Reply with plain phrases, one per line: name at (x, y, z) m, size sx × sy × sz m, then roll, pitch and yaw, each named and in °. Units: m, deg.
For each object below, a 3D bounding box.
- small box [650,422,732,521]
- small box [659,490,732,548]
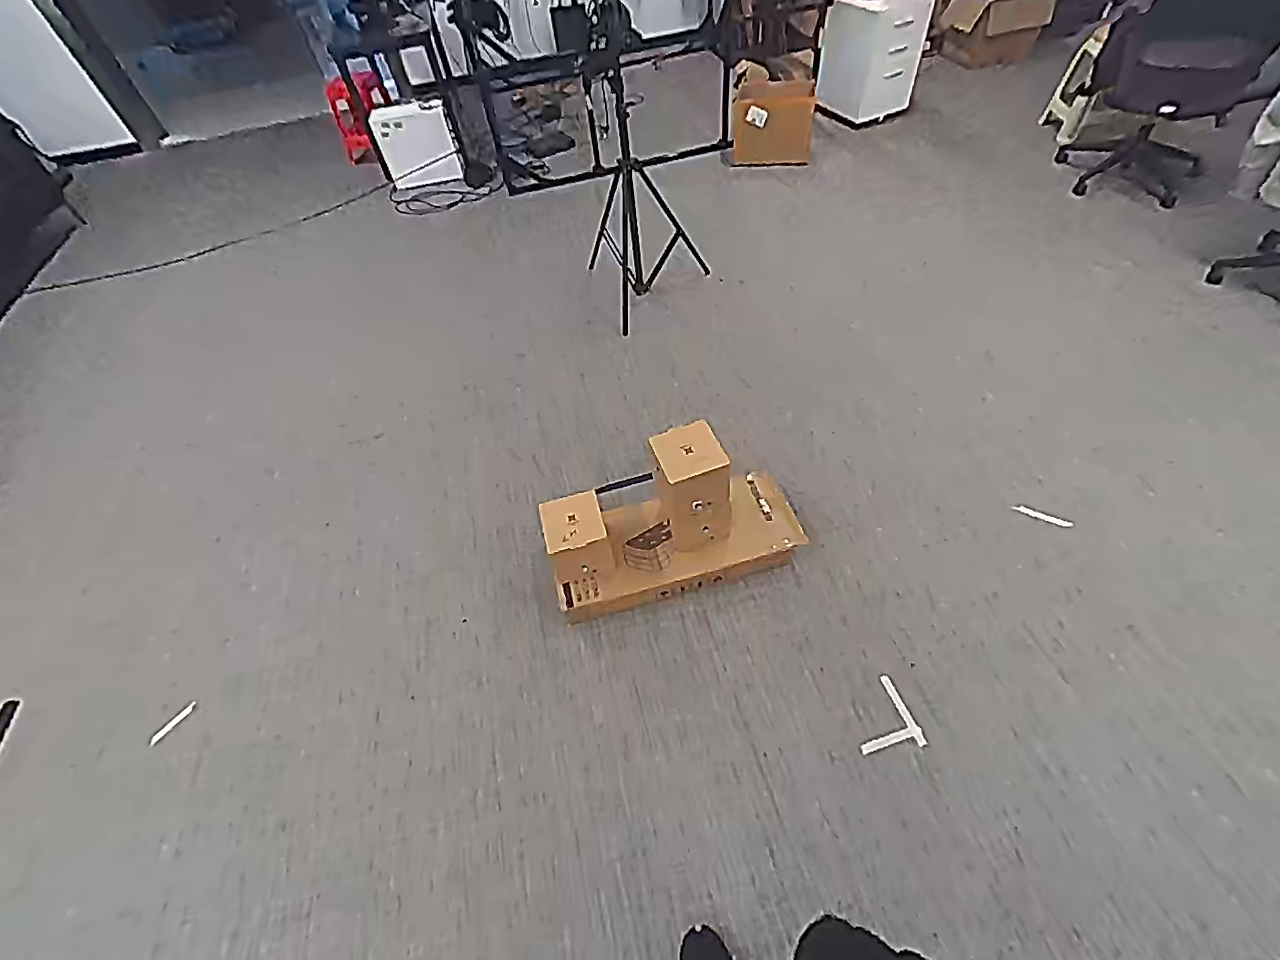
small box at (0.134, -0.020, 1.451) m, size 0.168 × 0.176 × 0.179 m, roll -19°, pitch 52°, yaw -7°
small box at (0.160, 0.079, 1.578) m, size 0.168 × 0.176 × 0.179 m, roll -17°, pitch 52°, yaw -6°
